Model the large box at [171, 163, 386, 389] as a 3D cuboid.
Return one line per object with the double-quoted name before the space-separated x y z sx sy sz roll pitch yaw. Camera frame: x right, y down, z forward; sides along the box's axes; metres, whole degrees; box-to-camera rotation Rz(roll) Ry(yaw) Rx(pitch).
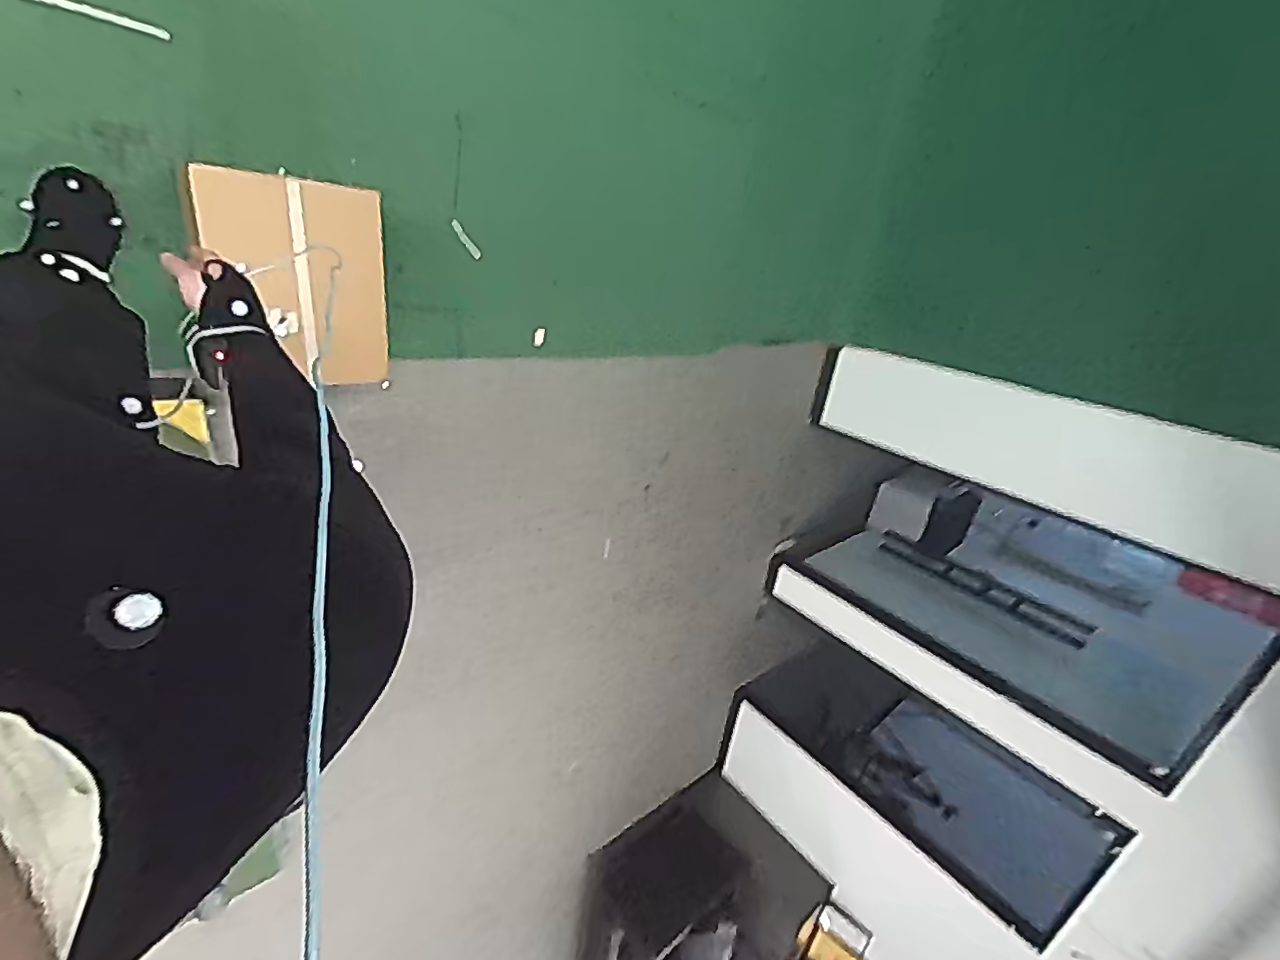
"large box" -0.789 -0.451 1.202 0.320 0.320 0.408 -13 122 -39
